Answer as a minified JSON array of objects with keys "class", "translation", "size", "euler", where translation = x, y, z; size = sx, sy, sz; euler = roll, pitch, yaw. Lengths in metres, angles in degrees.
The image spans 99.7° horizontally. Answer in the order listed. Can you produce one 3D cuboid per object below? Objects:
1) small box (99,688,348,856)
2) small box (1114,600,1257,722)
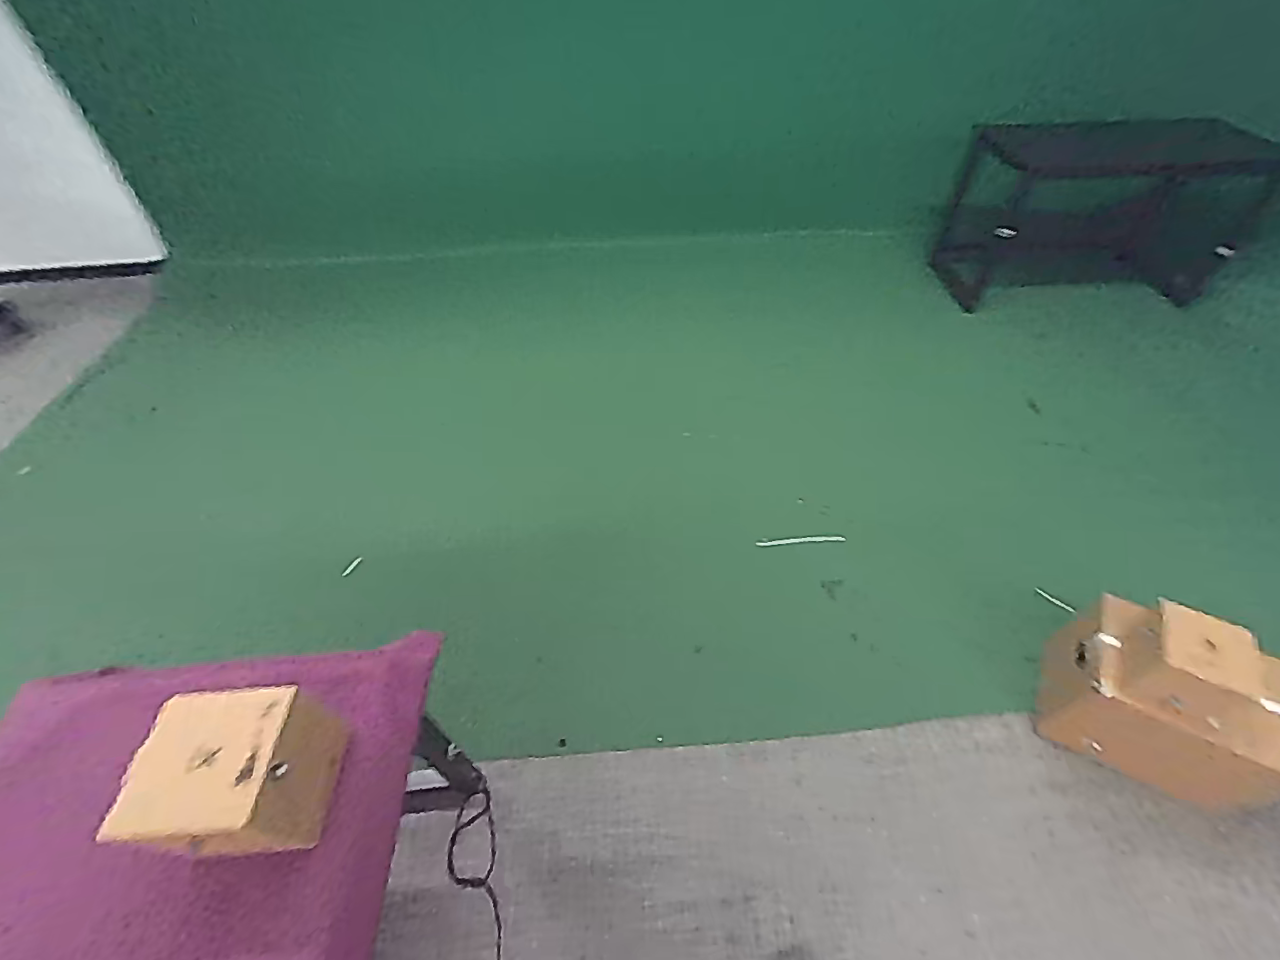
[{"class":"small box","translation":[-0.541,0.400,0.736],"size":[0.179,0.176,0.168],"euler":[-5,49,0]},{"class":"small box","translation":[1.229,0.414,1.235],"size":[0.168,0.176,0.179],"euler":[23,54,20]}]
